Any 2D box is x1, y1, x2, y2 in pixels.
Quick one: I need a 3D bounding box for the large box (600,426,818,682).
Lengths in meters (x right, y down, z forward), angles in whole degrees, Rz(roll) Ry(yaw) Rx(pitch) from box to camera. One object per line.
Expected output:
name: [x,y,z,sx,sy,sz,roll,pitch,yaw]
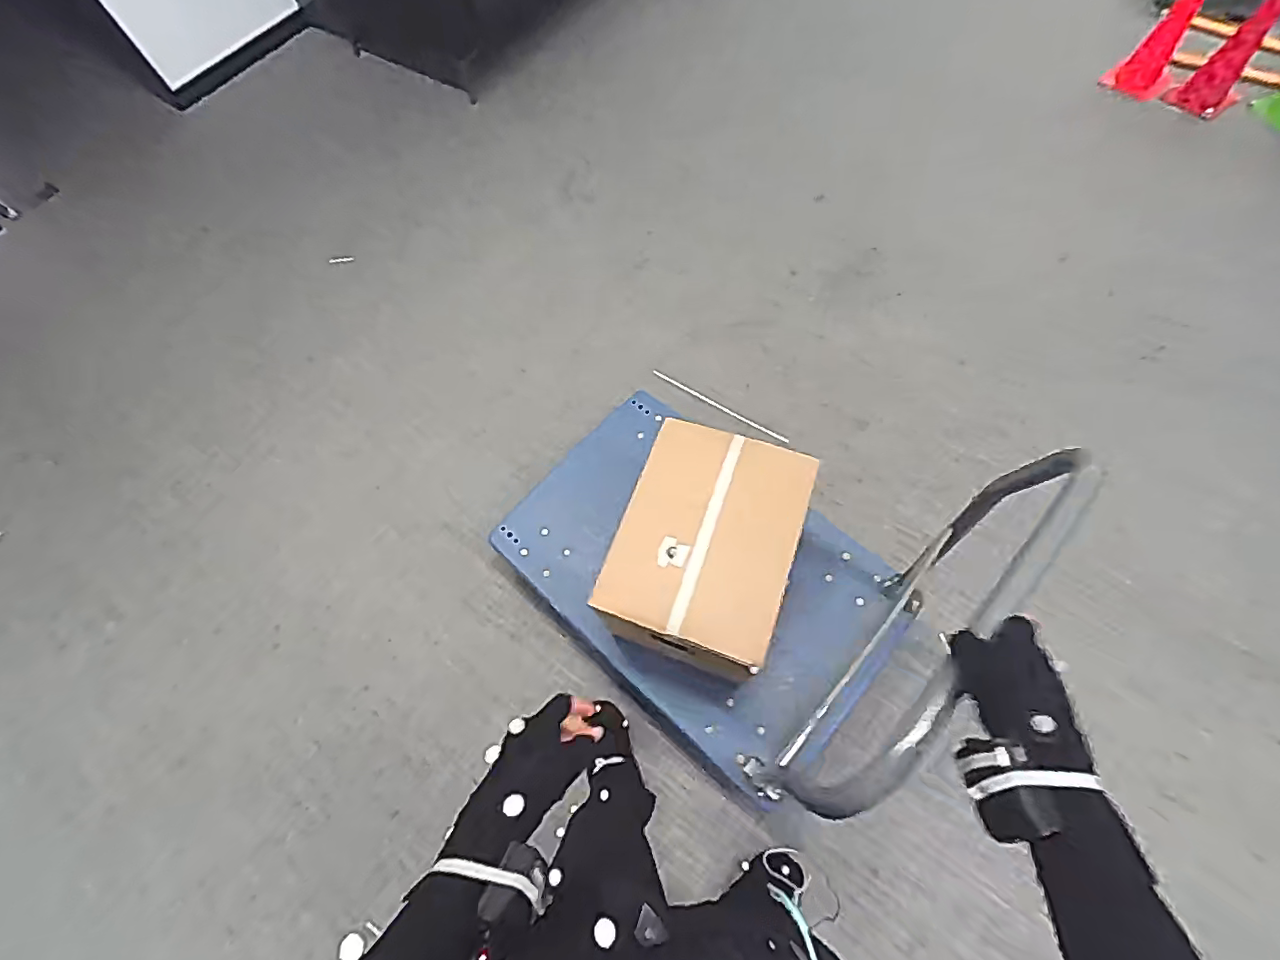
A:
large box: [0.147,0.161,1.124,0.320,0.320,0.408,16,69,13]
